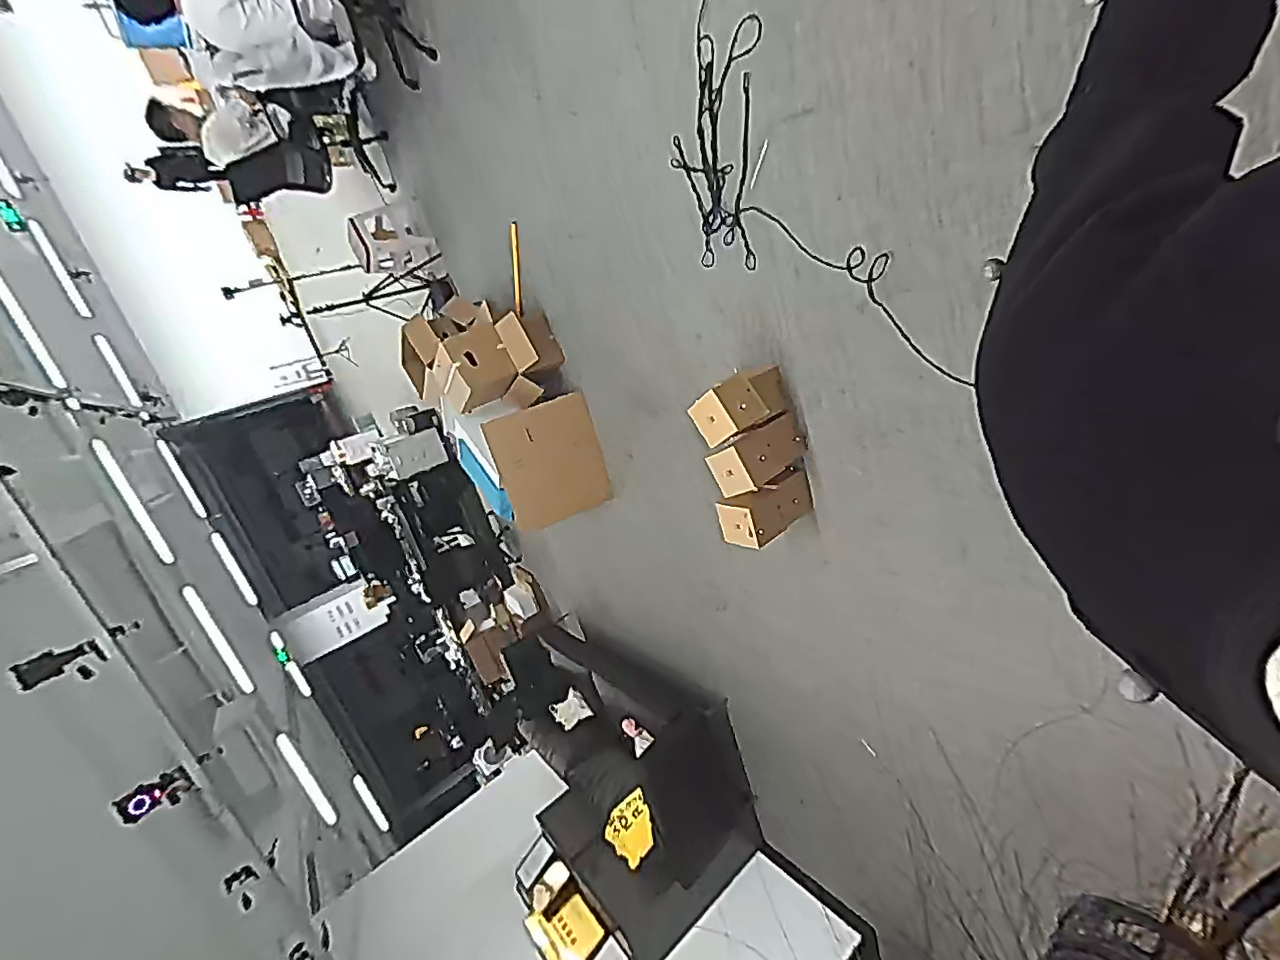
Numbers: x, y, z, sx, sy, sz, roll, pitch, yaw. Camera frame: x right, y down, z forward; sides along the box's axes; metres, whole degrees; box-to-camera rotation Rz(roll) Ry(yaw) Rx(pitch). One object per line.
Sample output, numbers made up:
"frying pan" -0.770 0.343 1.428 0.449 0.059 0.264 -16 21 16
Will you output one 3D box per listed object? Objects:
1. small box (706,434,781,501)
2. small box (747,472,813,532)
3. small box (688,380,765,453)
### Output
"small box" 0.375 -0.045 1.924 0.168 0.176 0.179 63 150 -1
"small box" 0.540 0.077 2.092 0.168 0.176 0.179 7 120 55
"small box" 0.307 -0.224 1.878 0.168 0.176 0.179 60 151 5
